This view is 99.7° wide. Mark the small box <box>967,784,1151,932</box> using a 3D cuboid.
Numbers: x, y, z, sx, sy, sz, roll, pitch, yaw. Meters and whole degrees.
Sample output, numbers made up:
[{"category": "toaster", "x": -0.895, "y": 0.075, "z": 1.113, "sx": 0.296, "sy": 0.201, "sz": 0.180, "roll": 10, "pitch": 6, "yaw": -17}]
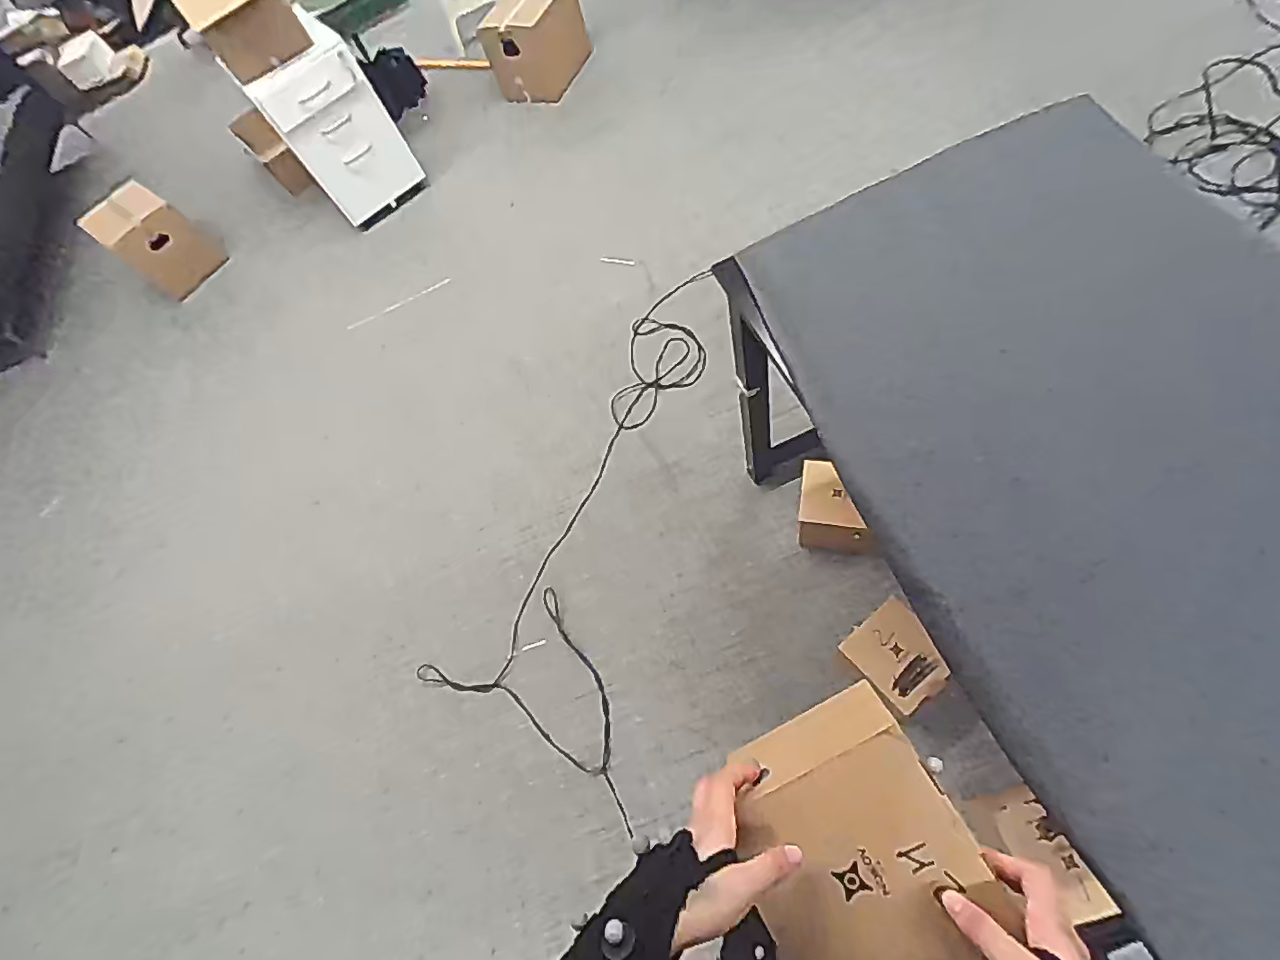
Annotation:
[{"category": "small box", "x": 0.725, "y": 0.660, "z": 0.966, "sx": 0.168, "sy": 0.176, "sz": 0.179, "roll": -20, "pitch": 61, "yaw": 5}]

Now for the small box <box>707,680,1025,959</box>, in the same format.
[{"category": "small box", "x": 0.185, "y": 0.308, "z": 0.490, "sx": 0.179, "sy": 0.176, "sz": 0.168, "roll": -33, "pitch": 75, "yaw": 7}]

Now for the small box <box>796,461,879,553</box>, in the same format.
[{"category": "small box", "x": 0.482, "y": 0.070, "z": 1.333, "sx": 0.179, "sy": 0.176, "sz": 0.168, "roll": 6, "pitch": 65, "yaw": 17}]
